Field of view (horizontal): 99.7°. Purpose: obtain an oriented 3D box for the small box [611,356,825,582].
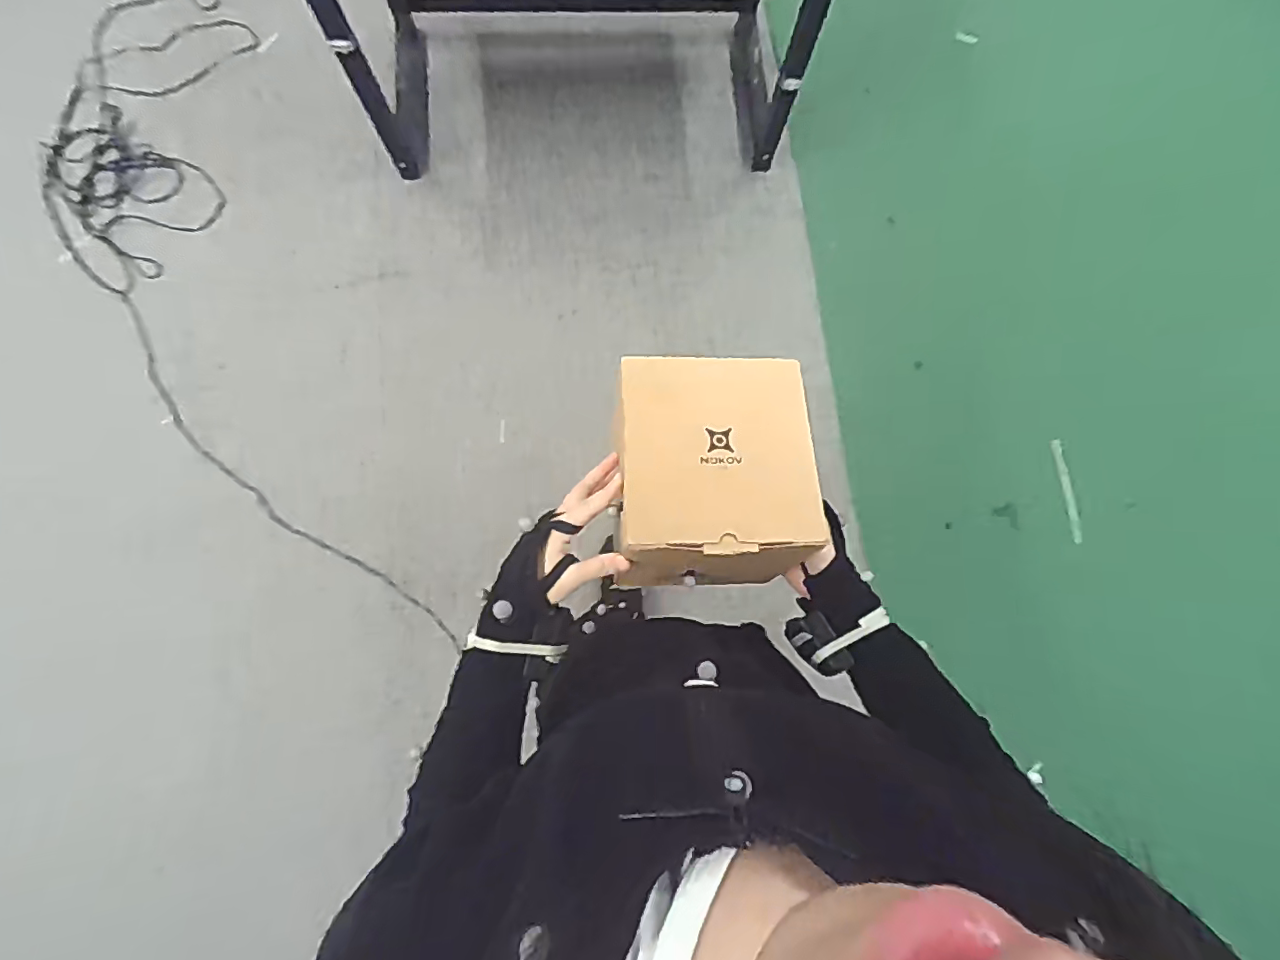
[{"bbox_3d":[0.059,-0.001,0.536,0.168,0.176,0.179,0,70,-7],"label":"small box"}]
